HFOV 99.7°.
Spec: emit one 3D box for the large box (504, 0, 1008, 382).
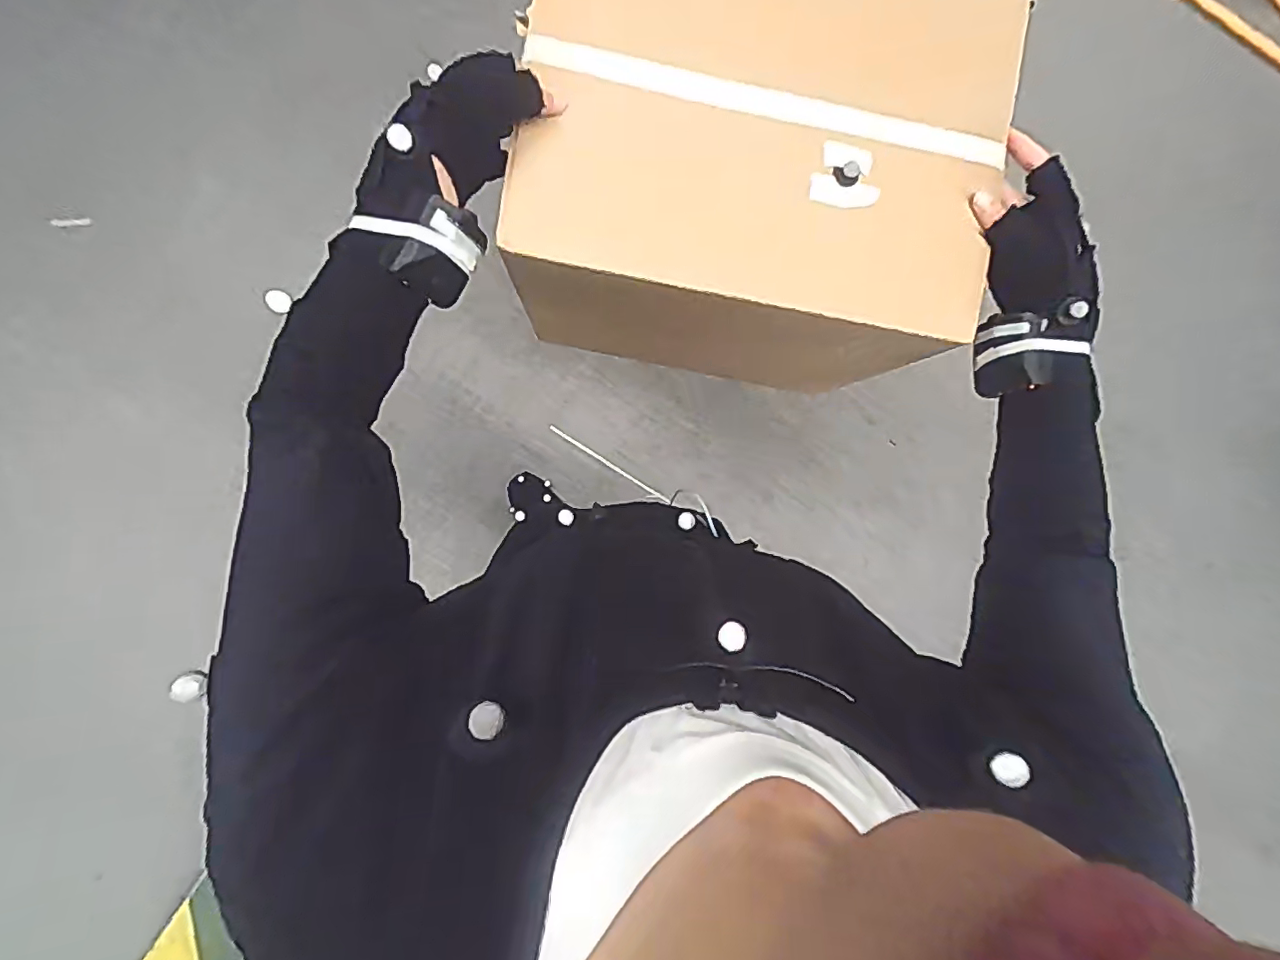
[{"bbox_3d":[0.089,-0.312,0.594,0.408,0.320,0.320,9,90,-6],"label":"large box"}]
